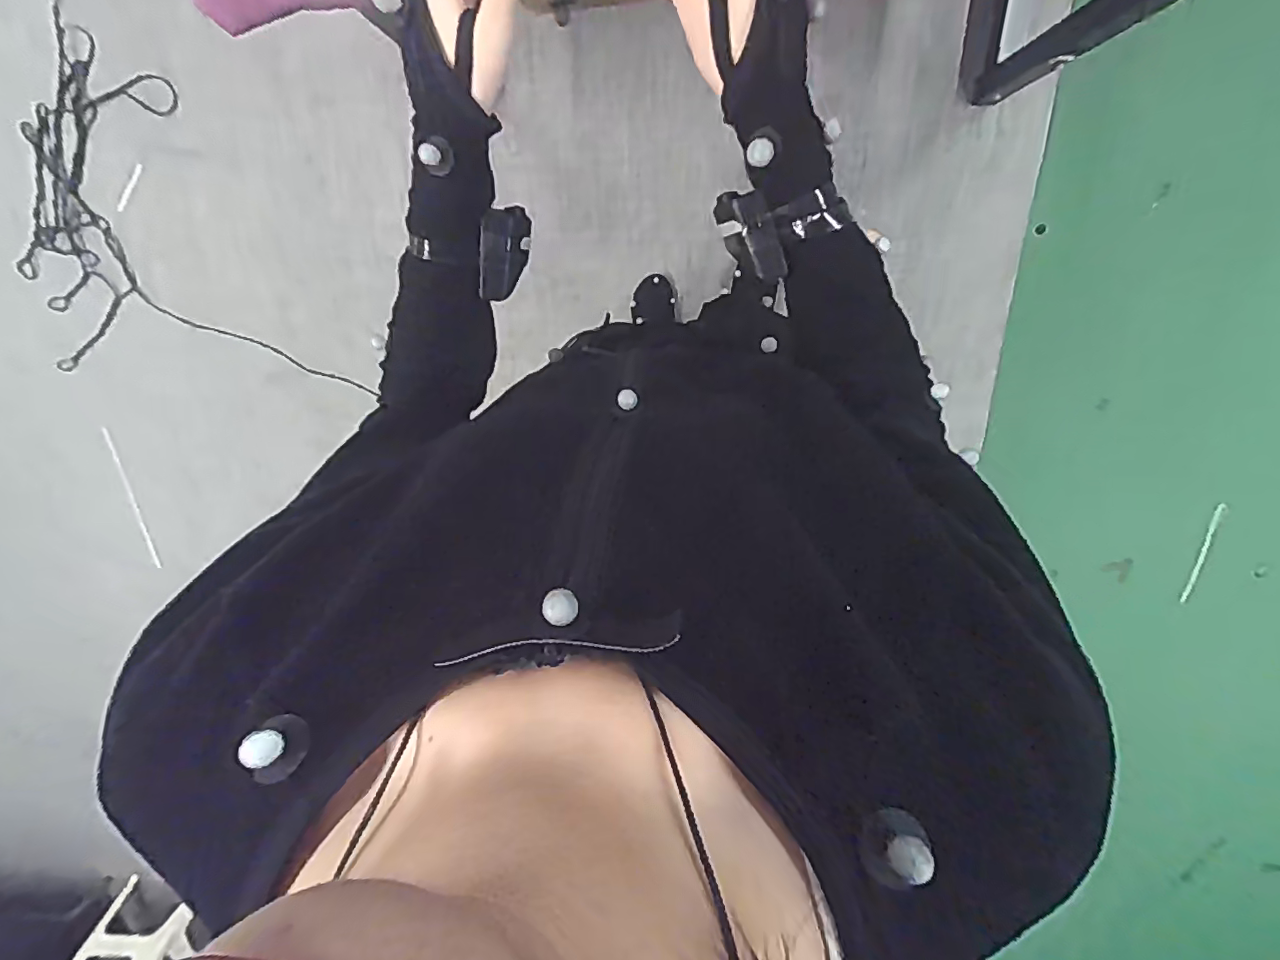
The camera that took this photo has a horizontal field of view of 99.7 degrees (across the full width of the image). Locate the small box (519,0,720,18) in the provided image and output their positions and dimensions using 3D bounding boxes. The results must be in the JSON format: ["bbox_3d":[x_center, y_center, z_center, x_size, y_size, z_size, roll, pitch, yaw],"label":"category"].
[{"bbox_3d":[-0.022,-0.404,0.316,0.168,0.176,0.179,0,116,9],"label":"small box"}]
